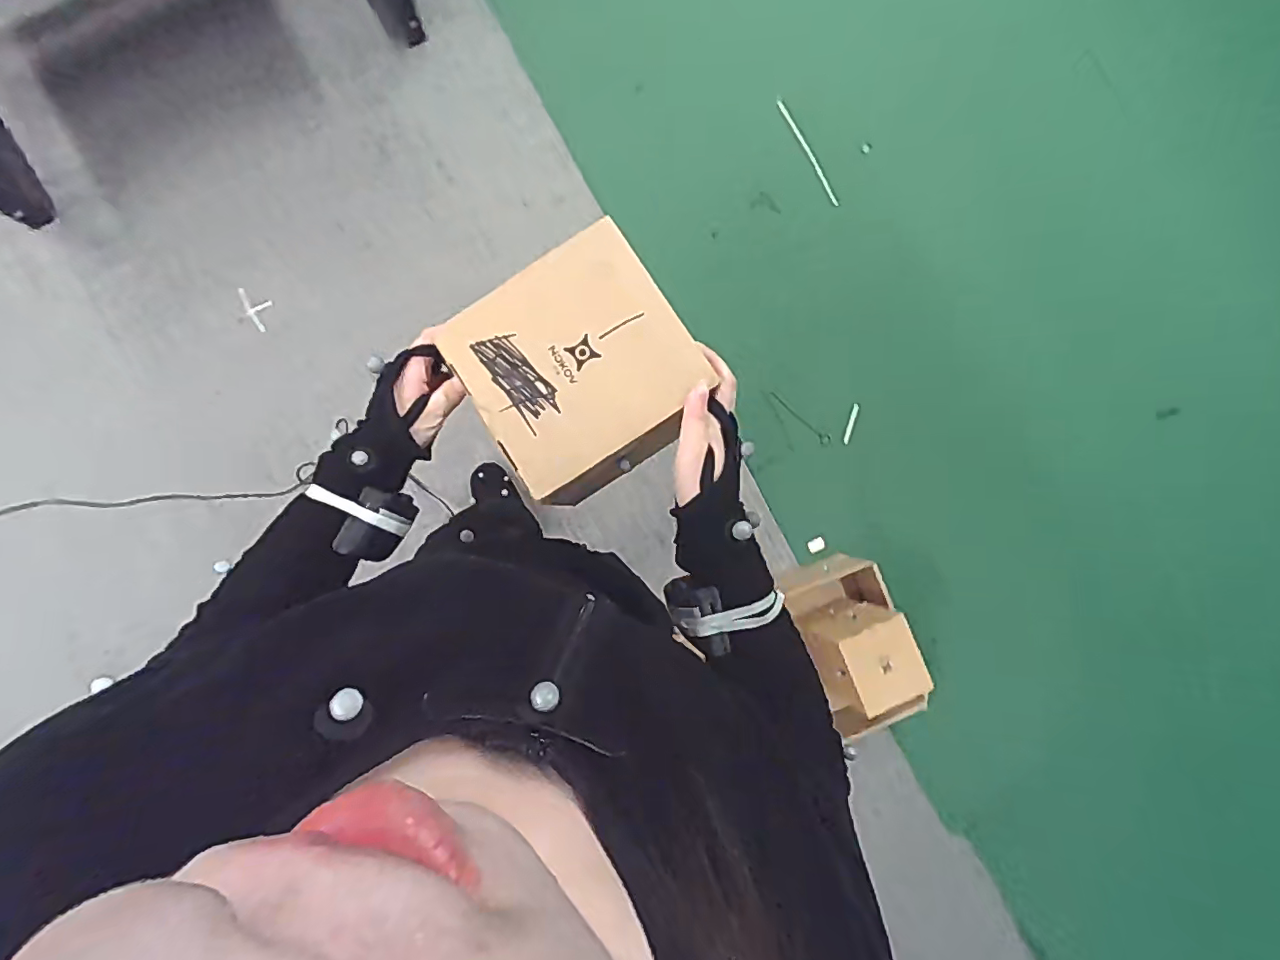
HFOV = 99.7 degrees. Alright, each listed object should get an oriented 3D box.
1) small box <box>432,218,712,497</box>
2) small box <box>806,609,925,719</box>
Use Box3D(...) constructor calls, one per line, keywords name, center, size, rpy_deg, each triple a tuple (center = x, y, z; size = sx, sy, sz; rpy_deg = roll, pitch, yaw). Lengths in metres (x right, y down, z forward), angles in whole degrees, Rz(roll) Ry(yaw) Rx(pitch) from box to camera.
Box3D(name="small box", center=(-0.052, -0.094, 0.510), size=(0.179, 0.176, 0.168), rpy_deg=(-33, 86, 0))
Box3D(name="small box", center=(0.518, 0.420, 1.263), size=(0.168, 0.176, 0.179), rpy_deg=(-21, 86, -6))
